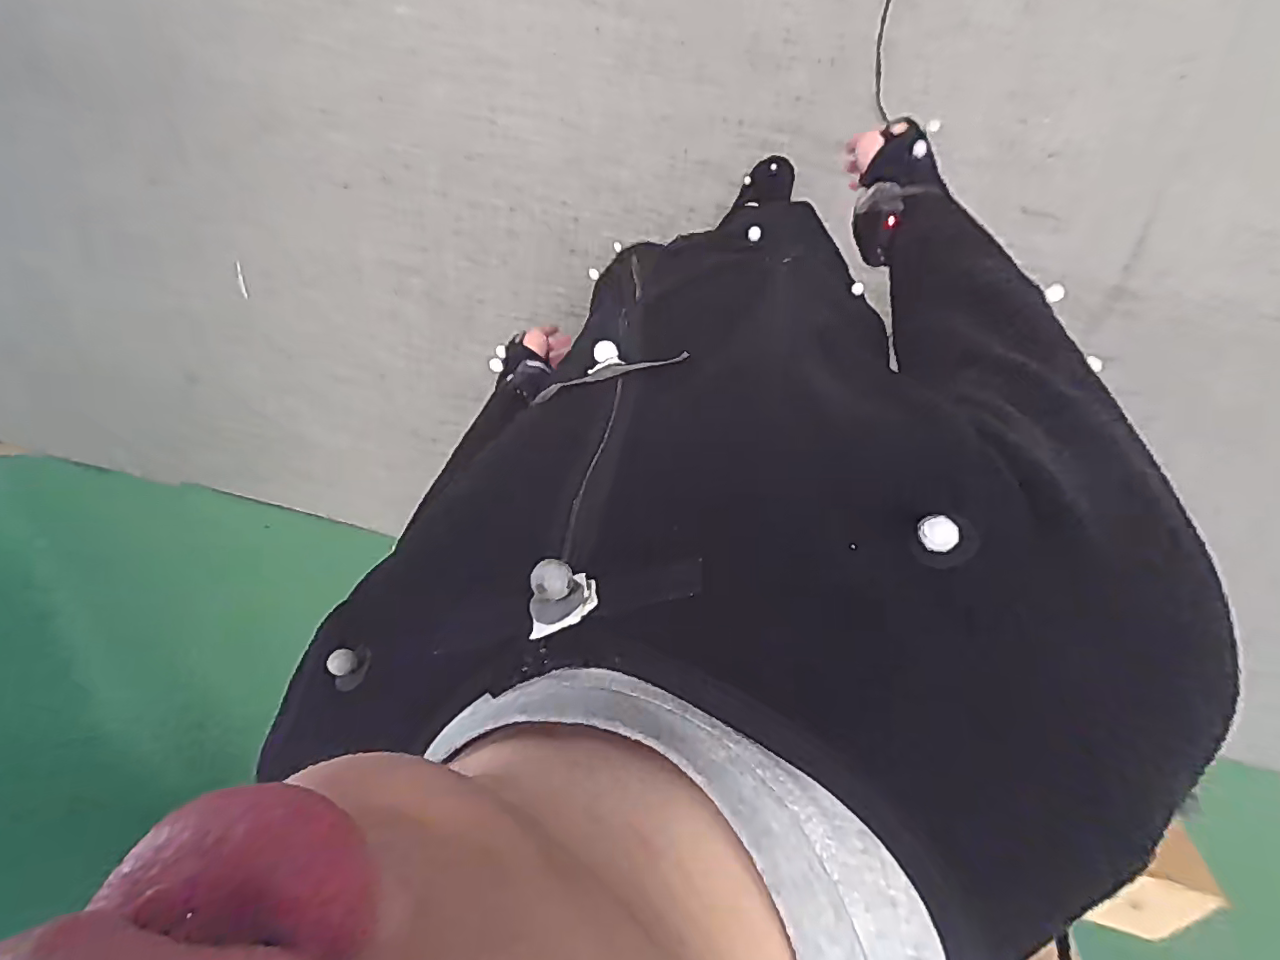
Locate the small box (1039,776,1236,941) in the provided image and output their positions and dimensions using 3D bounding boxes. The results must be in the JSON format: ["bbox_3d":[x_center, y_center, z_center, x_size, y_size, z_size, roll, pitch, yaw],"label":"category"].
[{"bbox_3d":[0.858,0.664,0.961,0.168,0.176,0.179,13,124,8],"label":"small box"}]
